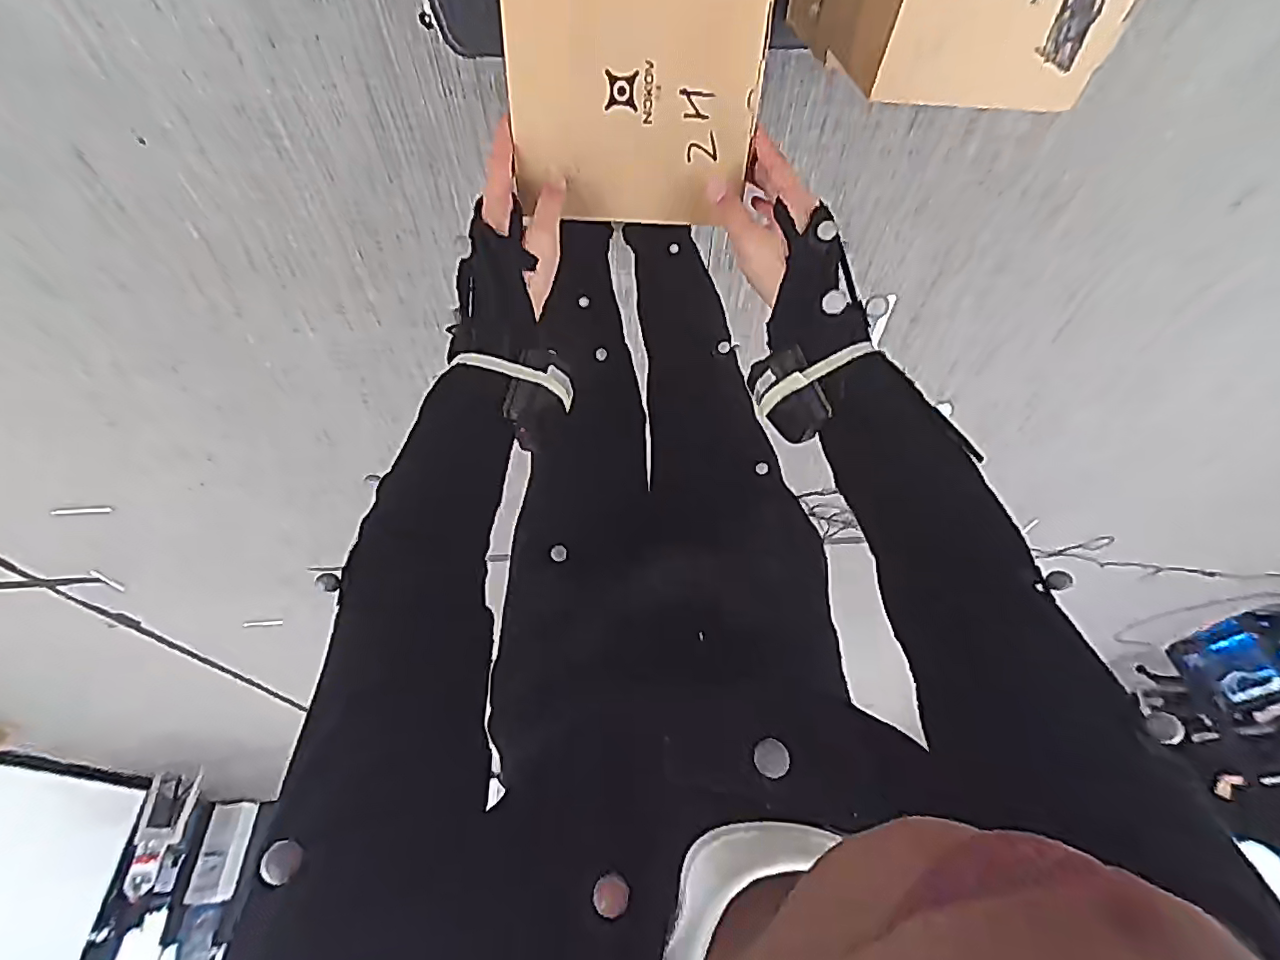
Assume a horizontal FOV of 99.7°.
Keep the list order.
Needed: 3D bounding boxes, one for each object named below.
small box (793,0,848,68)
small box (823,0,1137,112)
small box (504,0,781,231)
[{"bbox_3d":[0.261,-0.540,0.529,0.168,0.176,0.179,-5,144,-1],"label":"small box"},{"bbox_3d":[0.269,-0.416,0.420,0.179,0.176,0.168,0,144,-5],"label":"small box"},{"bbox_3d":[0.000,-0.310,0.429,0.179,0.176,0.168,2,129,-1],"label":"small box"}]
